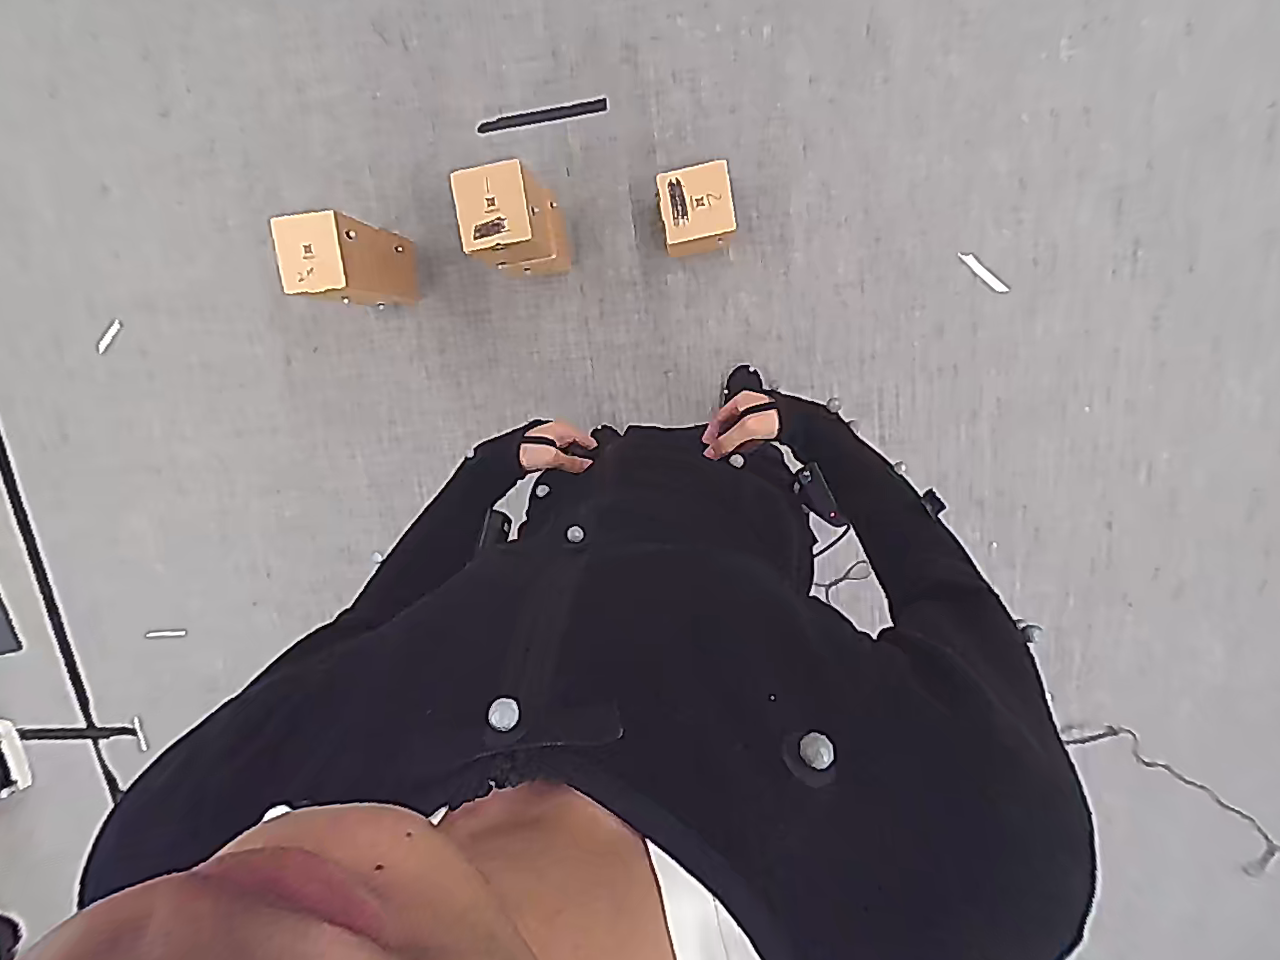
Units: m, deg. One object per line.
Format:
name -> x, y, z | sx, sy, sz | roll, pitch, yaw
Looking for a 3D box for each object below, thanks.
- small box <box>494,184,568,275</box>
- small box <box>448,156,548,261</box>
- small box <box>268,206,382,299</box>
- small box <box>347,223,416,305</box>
small box -> -0.298, -0.656, 1.441 | 0.168, 0.176, 0.179 | -8, 99, 7
small box -> -0.326, -0.630, 1.281 | 0.168, 0.176, 0.179 | -7, 99, 7
small box -> -0.770, -0.555, 1.340 | 0.168, 0.176, 0.179 | -3, 102, 7
small box -> -0.746, -0.592, 1.498 | 0.168, 0.176, 0.179 | -2, 101, 7
